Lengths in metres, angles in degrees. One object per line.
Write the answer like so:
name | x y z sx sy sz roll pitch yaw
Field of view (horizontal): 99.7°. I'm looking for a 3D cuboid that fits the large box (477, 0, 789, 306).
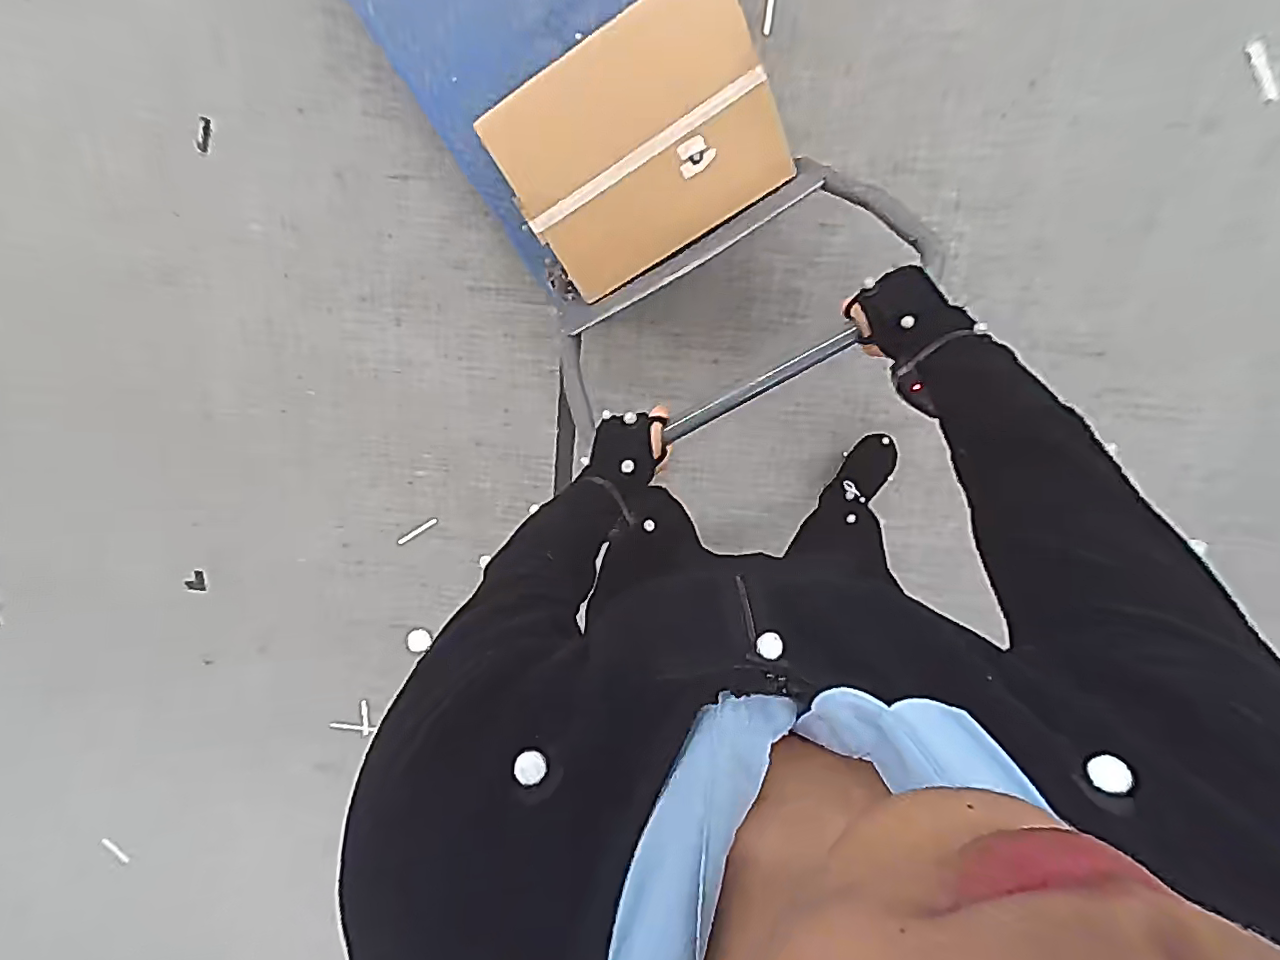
large box | -0.021 -0.585 0.952 0.408 0.320 0.320 -29 126 11
